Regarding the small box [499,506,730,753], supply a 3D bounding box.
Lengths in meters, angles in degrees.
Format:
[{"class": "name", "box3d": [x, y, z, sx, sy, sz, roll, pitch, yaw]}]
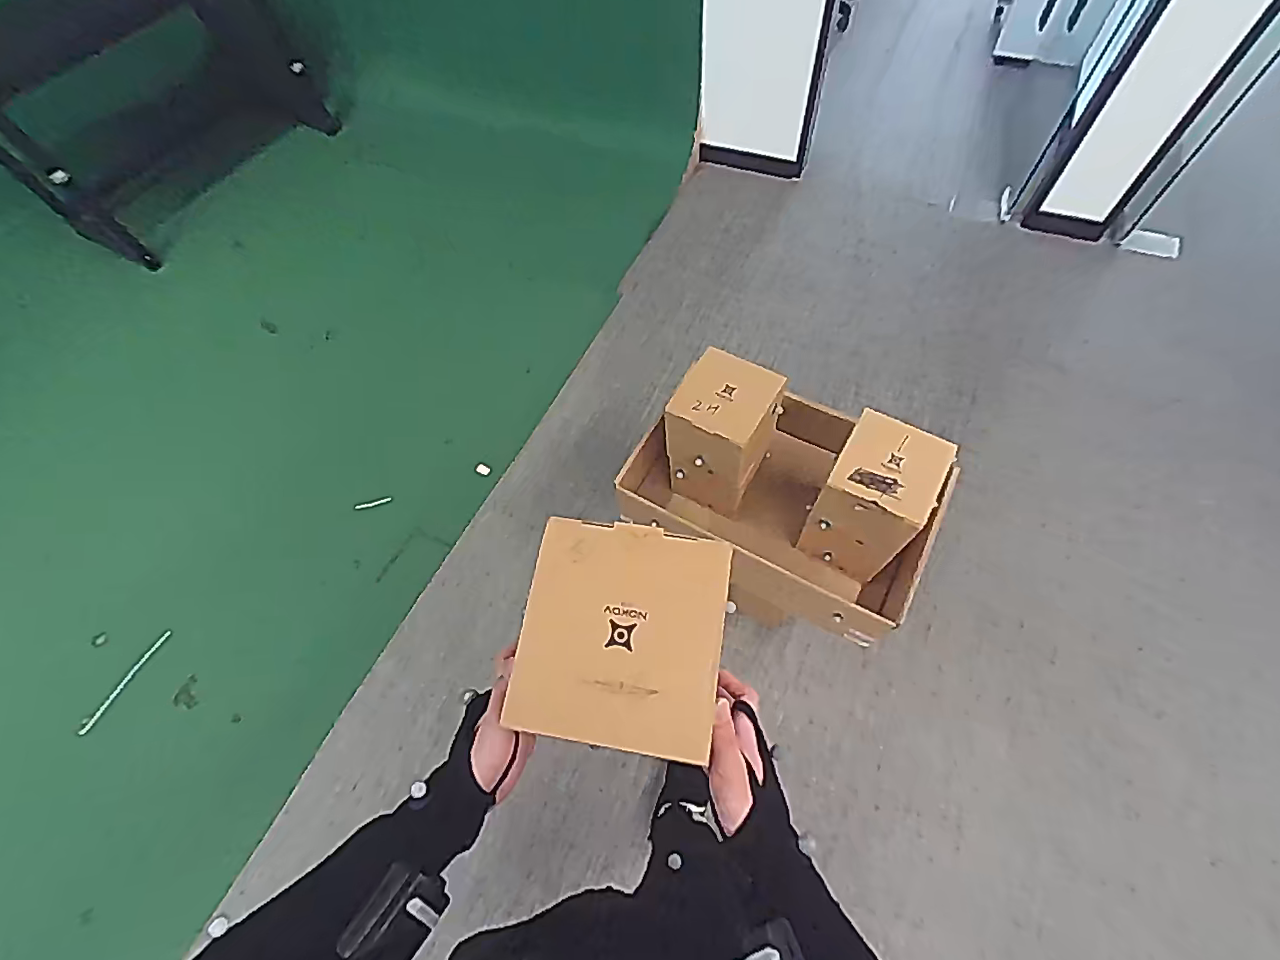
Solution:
[{"class": "small box", "box3d": [-0.013, 0.142, 0.517, 0.168, 0.176, 0.179, 8, 70, 6]}]

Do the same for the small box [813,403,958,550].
[{"class": "small box", "box3d": [0.427, 0.001, 0.969, 0.168, 0.176, 0.179, 27, 69, 17]}]

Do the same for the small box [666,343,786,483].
[{"class": "small box", "box3d": [0.164, -0.127, 1.060, 0.168, 0.176, 0.179, 28, 69, 19]}]

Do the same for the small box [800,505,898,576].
[{"class": "small box", "box3d": [0.447, 0.071, 1.117, 0.168, 0.176, 0.179, 26, 69, 17]}]
